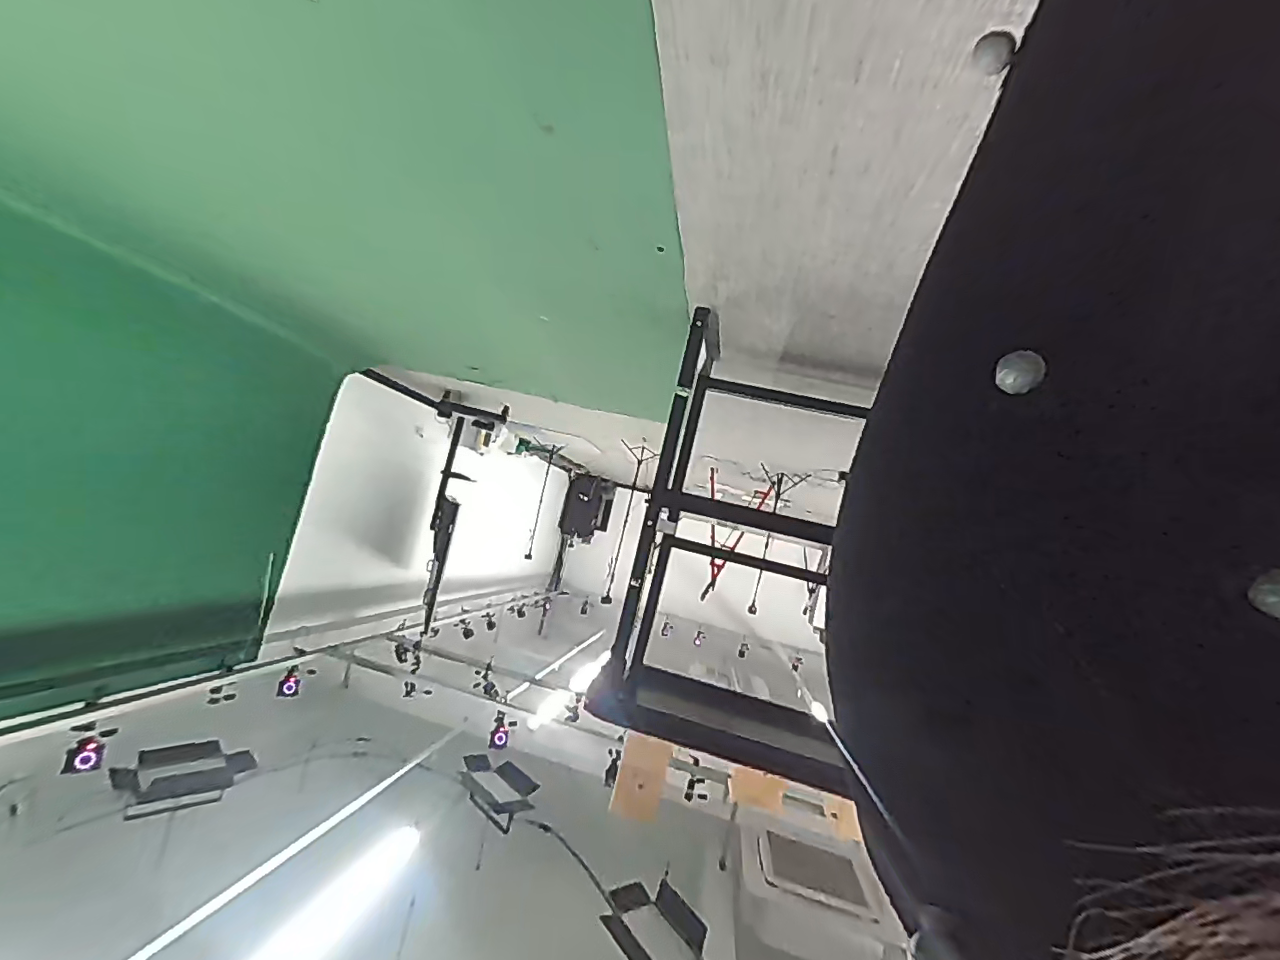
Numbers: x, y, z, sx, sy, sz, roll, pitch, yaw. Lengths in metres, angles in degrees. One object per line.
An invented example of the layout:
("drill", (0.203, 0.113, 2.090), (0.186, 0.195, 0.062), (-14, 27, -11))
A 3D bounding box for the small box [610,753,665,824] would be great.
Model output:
("small box", (-0.001, 1.082, 1.933), (0.168, 0.176, 0.179), (12, 175, 6))

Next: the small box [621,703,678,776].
("small box", (0.039, 0.922, 1.945), (0.168, 0.176, 0.179), (13, 174, 6))

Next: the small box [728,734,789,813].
("small box", (0.410, 1.008, 1.882), (0.168, 0.176, 0.179), (14, 176, 7))
